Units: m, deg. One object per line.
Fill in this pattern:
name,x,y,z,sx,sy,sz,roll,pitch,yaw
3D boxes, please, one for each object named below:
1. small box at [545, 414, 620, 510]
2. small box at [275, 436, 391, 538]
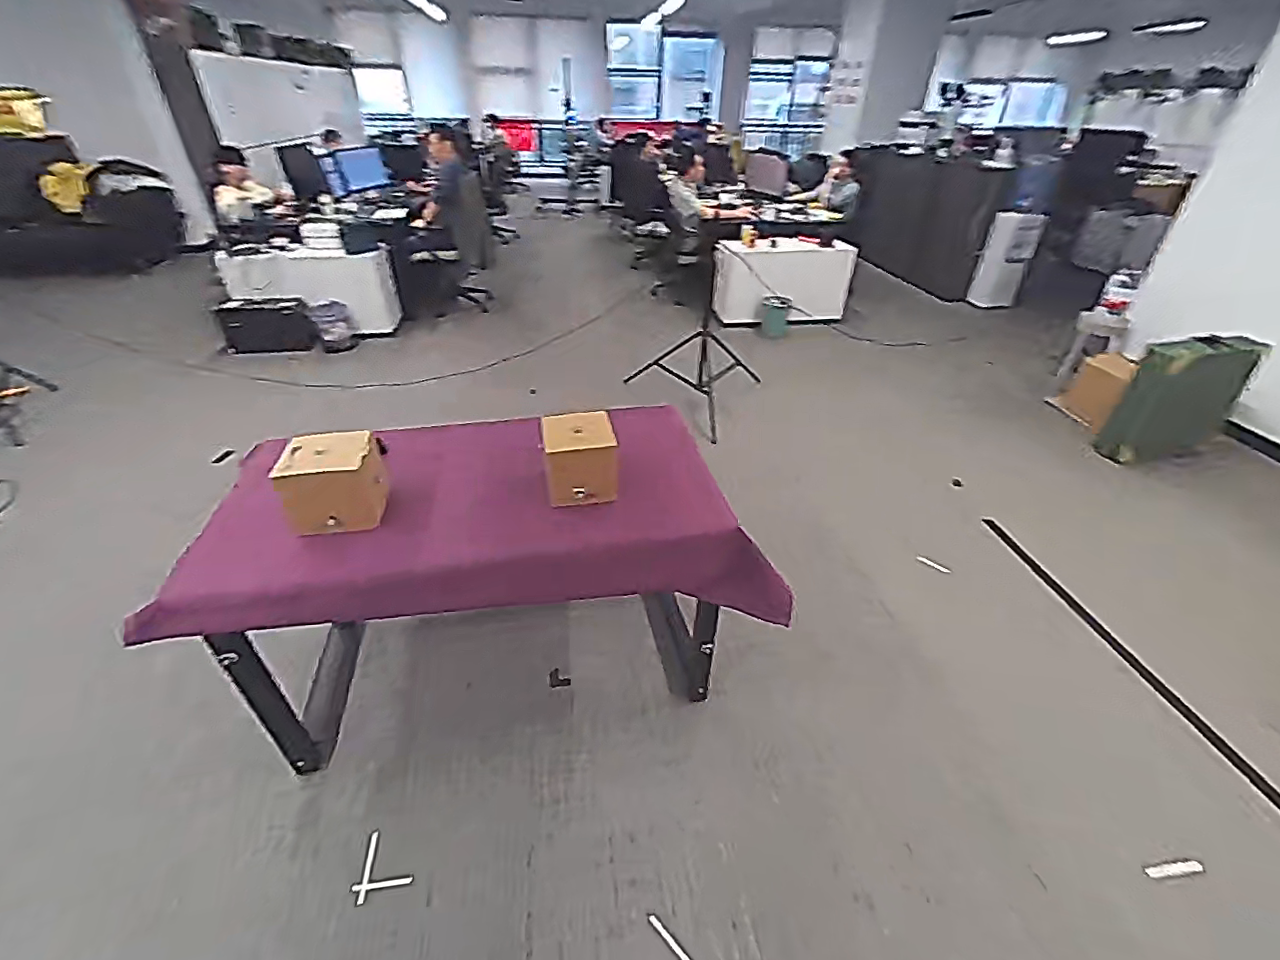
small box,-0.145,-0.047,1.355,0.168,0.176,0.179,-8,36,-10
small box,-0.694,0.015,1.249,0.179,0.176,0.168,-5,35,-10
